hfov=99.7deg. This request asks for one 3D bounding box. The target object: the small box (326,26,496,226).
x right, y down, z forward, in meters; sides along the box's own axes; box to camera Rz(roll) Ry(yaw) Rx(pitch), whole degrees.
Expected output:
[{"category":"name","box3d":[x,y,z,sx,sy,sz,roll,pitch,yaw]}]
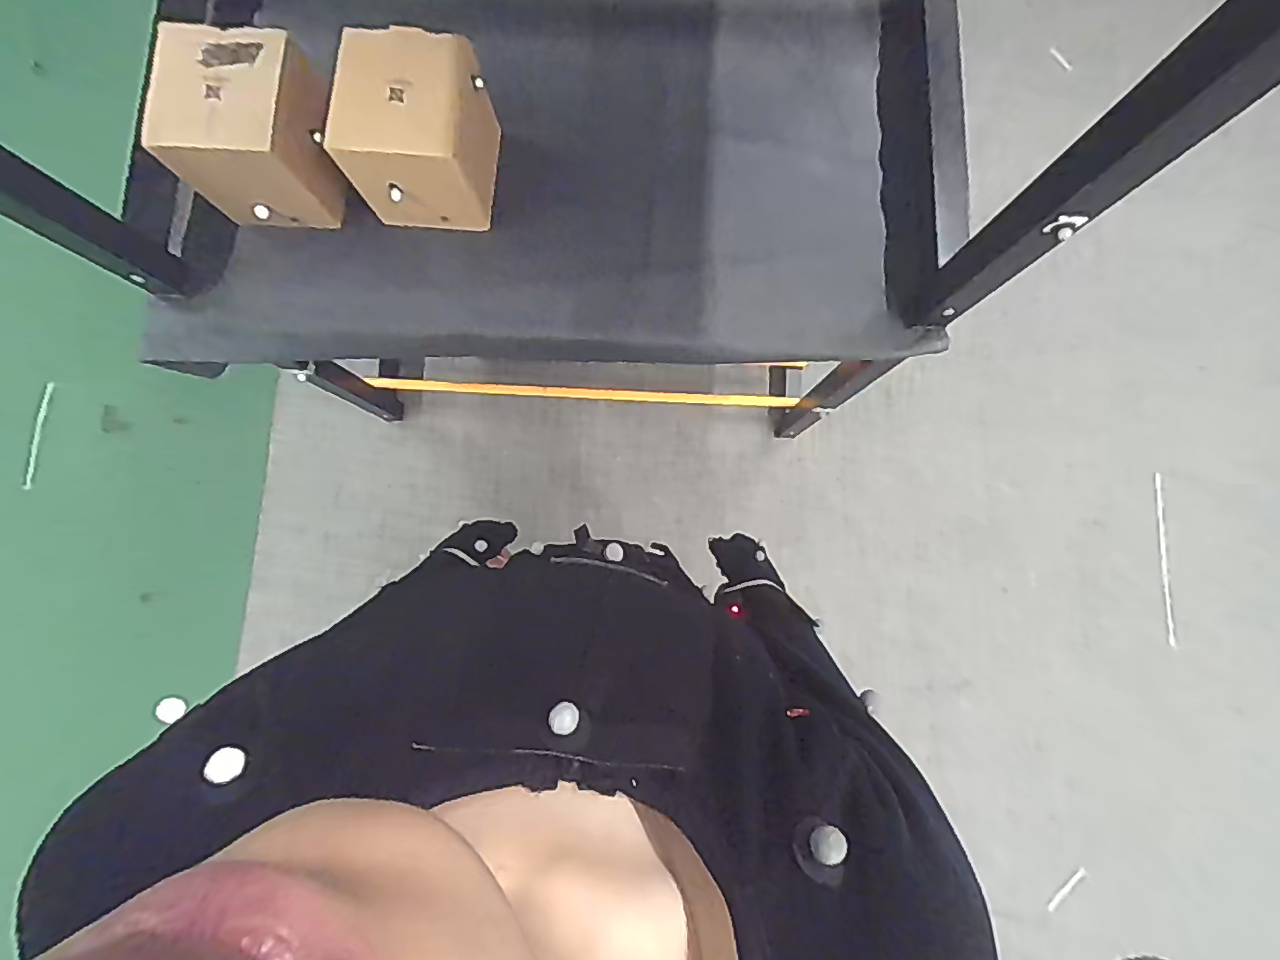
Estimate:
[{"category":"small box","box3d":[-0.311,-0.490,0.771,0.168,0.176,0.179,4,82,0]}]

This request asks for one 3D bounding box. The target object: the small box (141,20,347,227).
[{"category":"small box","box3d":[-0.539,-0.493,0.766,0.168,0.176,0.179,3,83,0]}]
